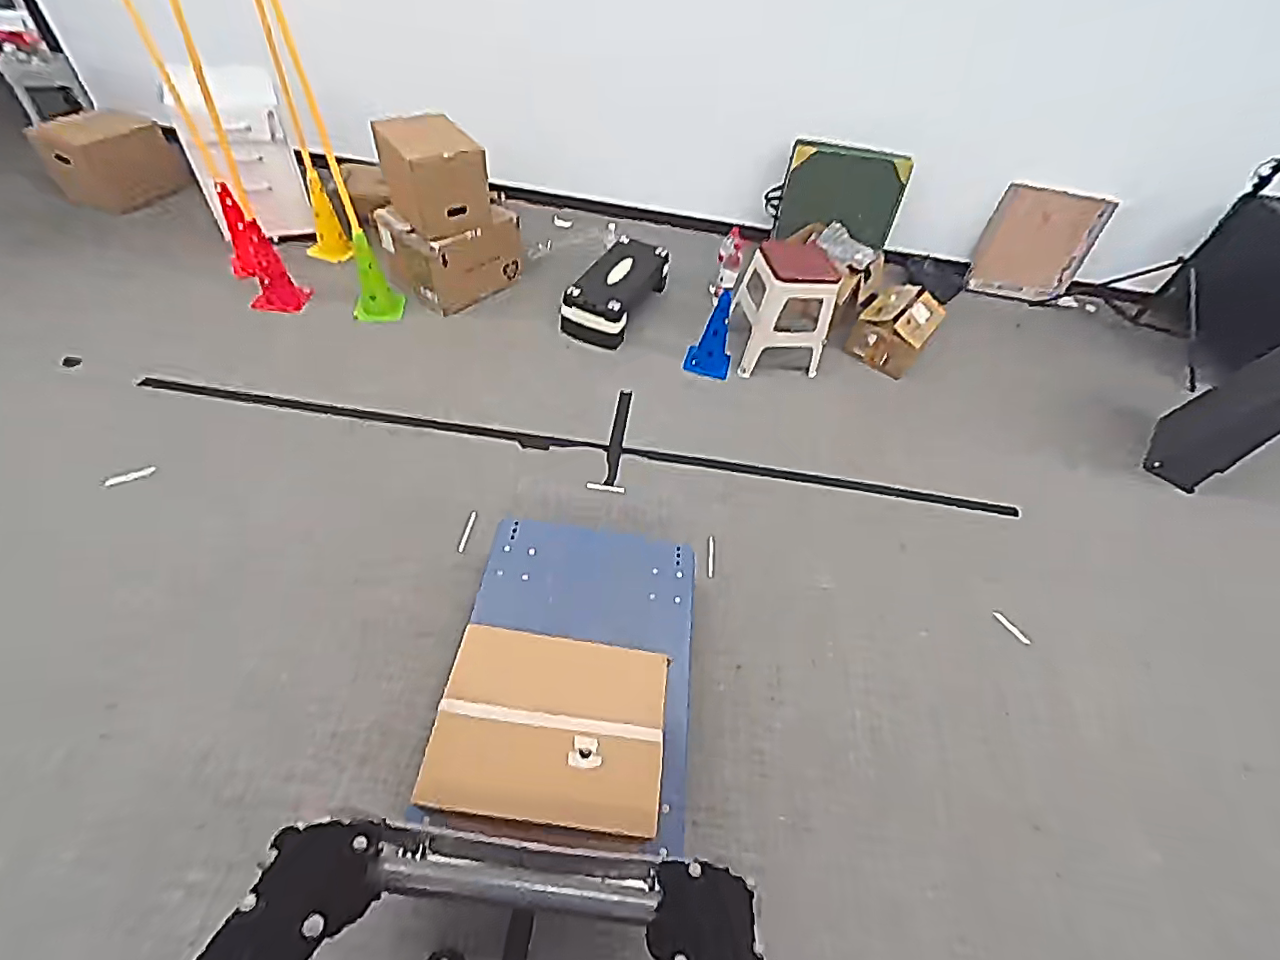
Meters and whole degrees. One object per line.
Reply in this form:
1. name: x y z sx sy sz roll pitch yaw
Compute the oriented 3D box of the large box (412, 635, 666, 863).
1. large box: -0.181 0.541 1.077 0.408 0.320 0.320 10 50 -3
